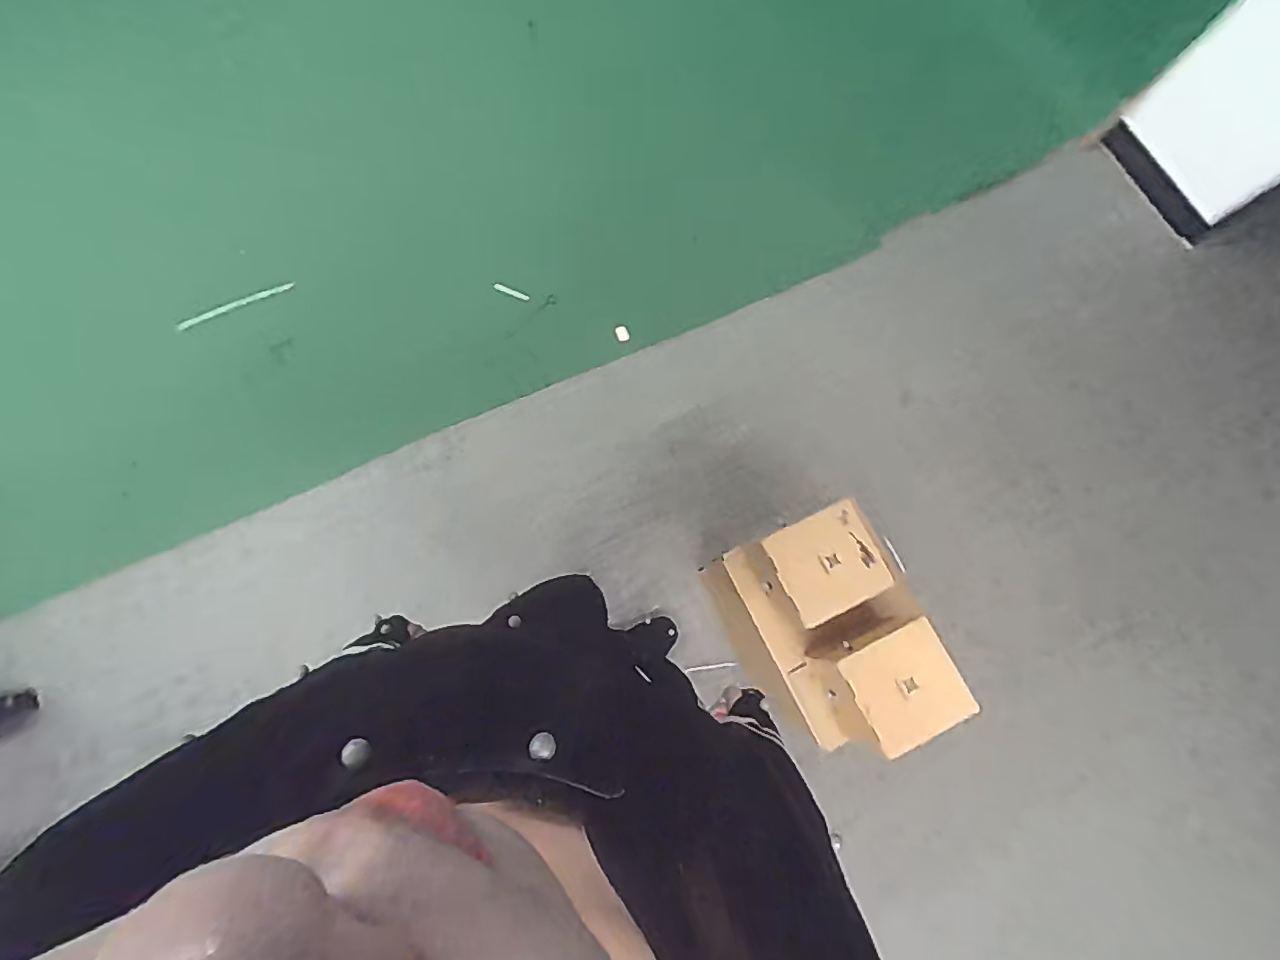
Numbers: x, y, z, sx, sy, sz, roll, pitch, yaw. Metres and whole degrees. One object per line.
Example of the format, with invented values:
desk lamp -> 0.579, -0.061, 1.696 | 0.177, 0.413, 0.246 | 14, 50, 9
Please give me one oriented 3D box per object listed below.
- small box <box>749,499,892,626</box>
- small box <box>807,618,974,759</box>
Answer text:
small box -> 0.315, 0.153, 0.994 | 0.179, 0.176, 0.168 | -24, 81, -5
small box -> 0.427, 0.353, 0.953 | 0.179, 0.176, 0.168 | -25, 78, -6
